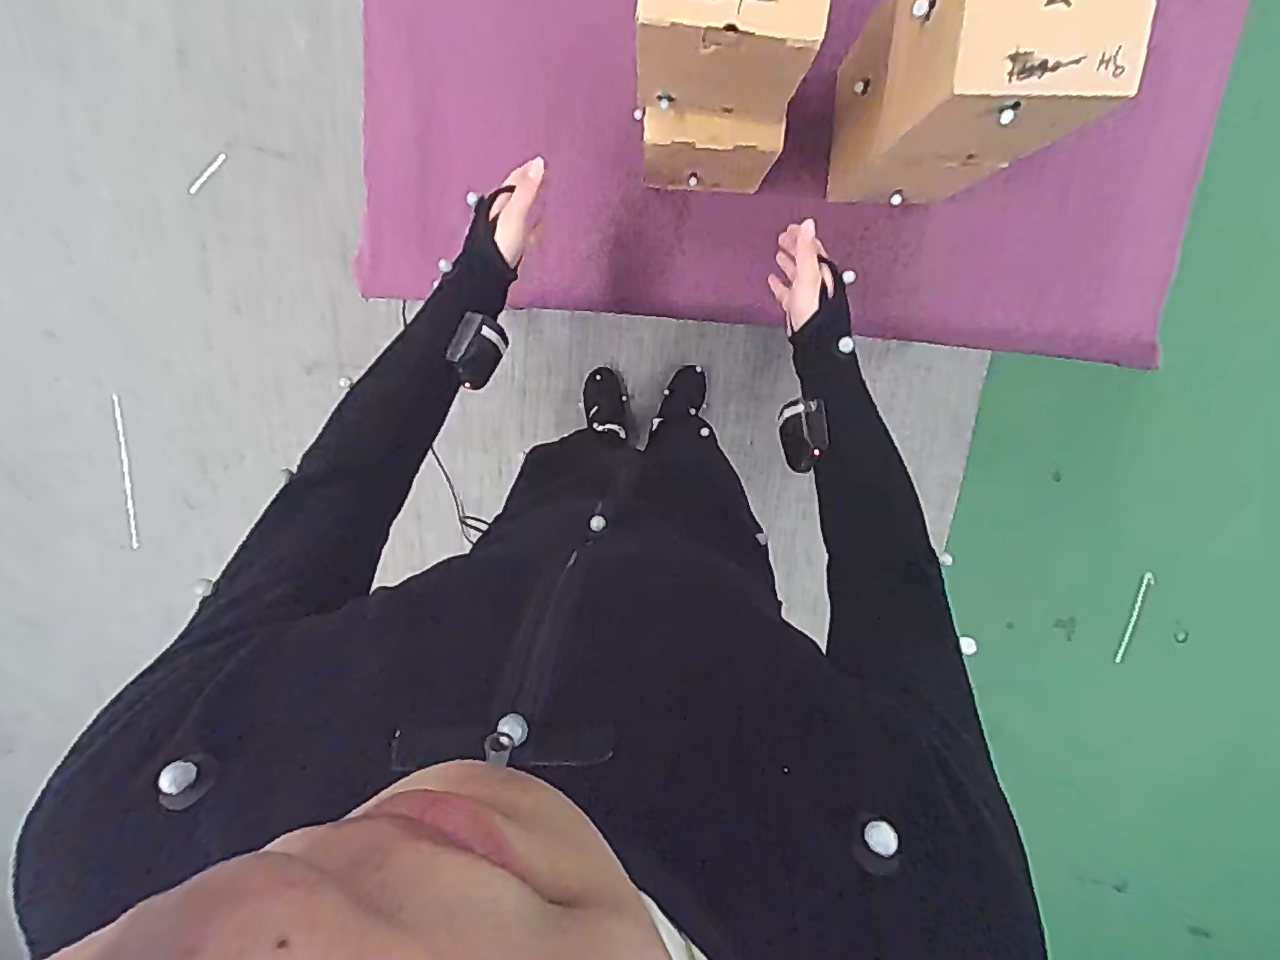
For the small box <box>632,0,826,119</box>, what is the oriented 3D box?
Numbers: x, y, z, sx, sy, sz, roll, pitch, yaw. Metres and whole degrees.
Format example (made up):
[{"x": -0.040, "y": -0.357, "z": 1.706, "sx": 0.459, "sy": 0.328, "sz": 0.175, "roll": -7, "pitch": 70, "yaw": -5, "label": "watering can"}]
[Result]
[{"x": 0.086, "y": -0.486, "z": 0.525, "sx": 0.168, "sy": 0.176, "sz": 0.179, "roll": 7, "pitch": 102, "yaw": -2, "label": "small box"}]

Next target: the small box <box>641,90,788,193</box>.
[{"x": 0.088, "y": -0.491, "z": 0.693, "sx": 0.168, "sy": 0.176, "sz": 0.179, "roll": 3, "pitch": 103, "yaw": -1, "label": "small box"}]

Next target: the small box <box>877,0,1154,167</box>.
[{"x": 0.355, "y": -0.438, "z": 0.535, "sx": 0.168, "sy": 0.176, "sz": 0.179, "roll": 1, "pitch": 101, "yaw": 0, "label": "small box"}]

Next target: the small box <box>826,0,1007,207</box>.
[{"x": 0.353, "y": -0.472, "z": 0.696, "sx": 0.168, "sy": 0.176, "sz": 0.179, "roll": 1, "pitch": 102, "yaw": -1, "label": "small box"}]
